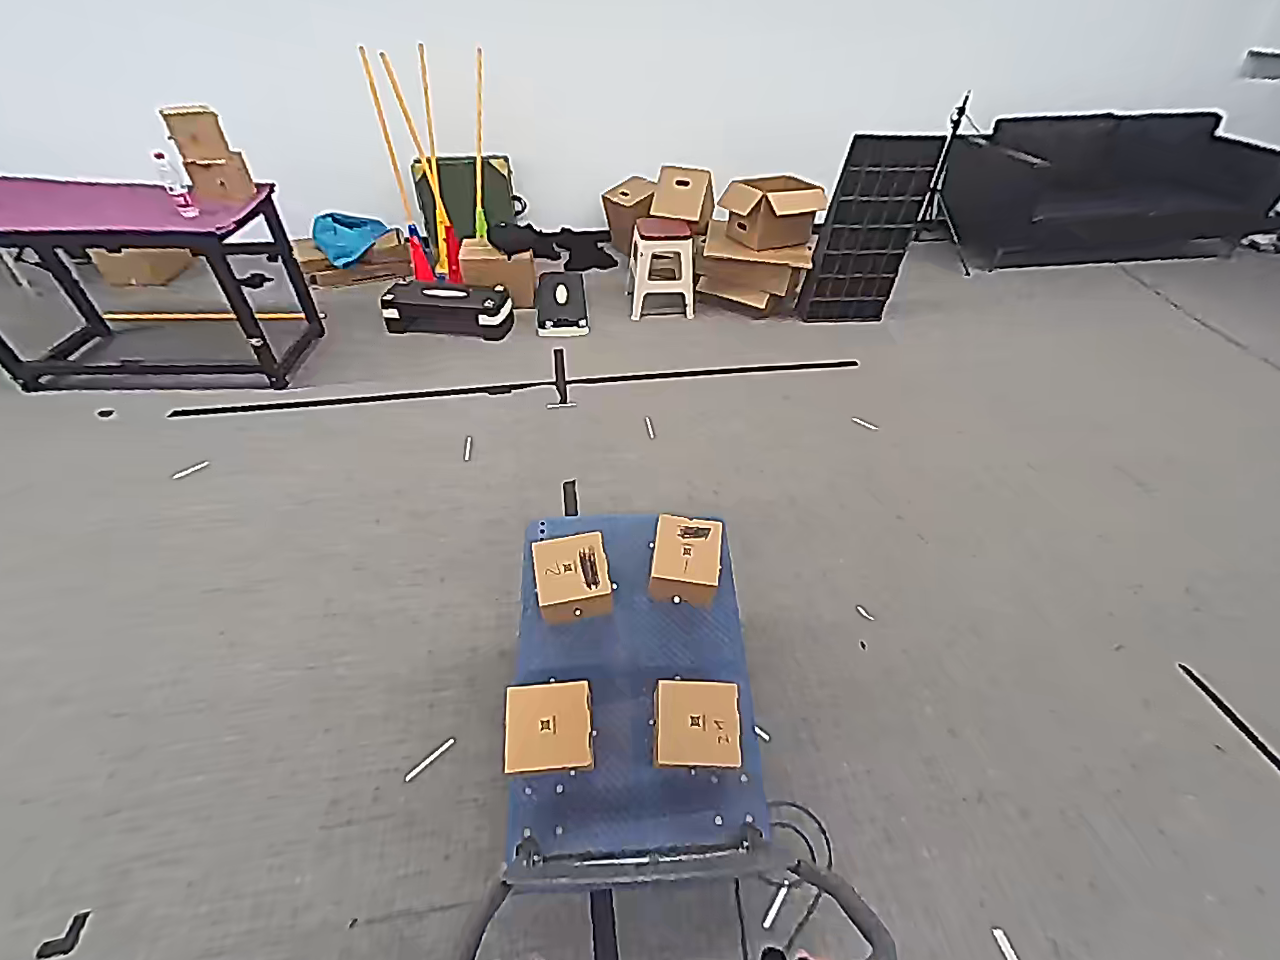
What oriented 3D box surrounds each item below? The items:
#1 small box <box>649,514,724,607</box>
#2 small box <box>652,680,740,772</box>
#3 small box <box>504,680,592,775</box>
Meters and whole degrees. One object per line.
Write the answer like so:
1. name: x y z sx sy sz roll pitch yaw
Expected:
1. small box: 0.117 0.213 1.413 0.168 0.176 0.179 9 60 2
2. small box: 0.120 0.554 1.210 0.179 0.176 0.168 4 59 -1
3. small box: -0.198 0.550 1.194 0.179 0.176 0.168 -2 59 -6
